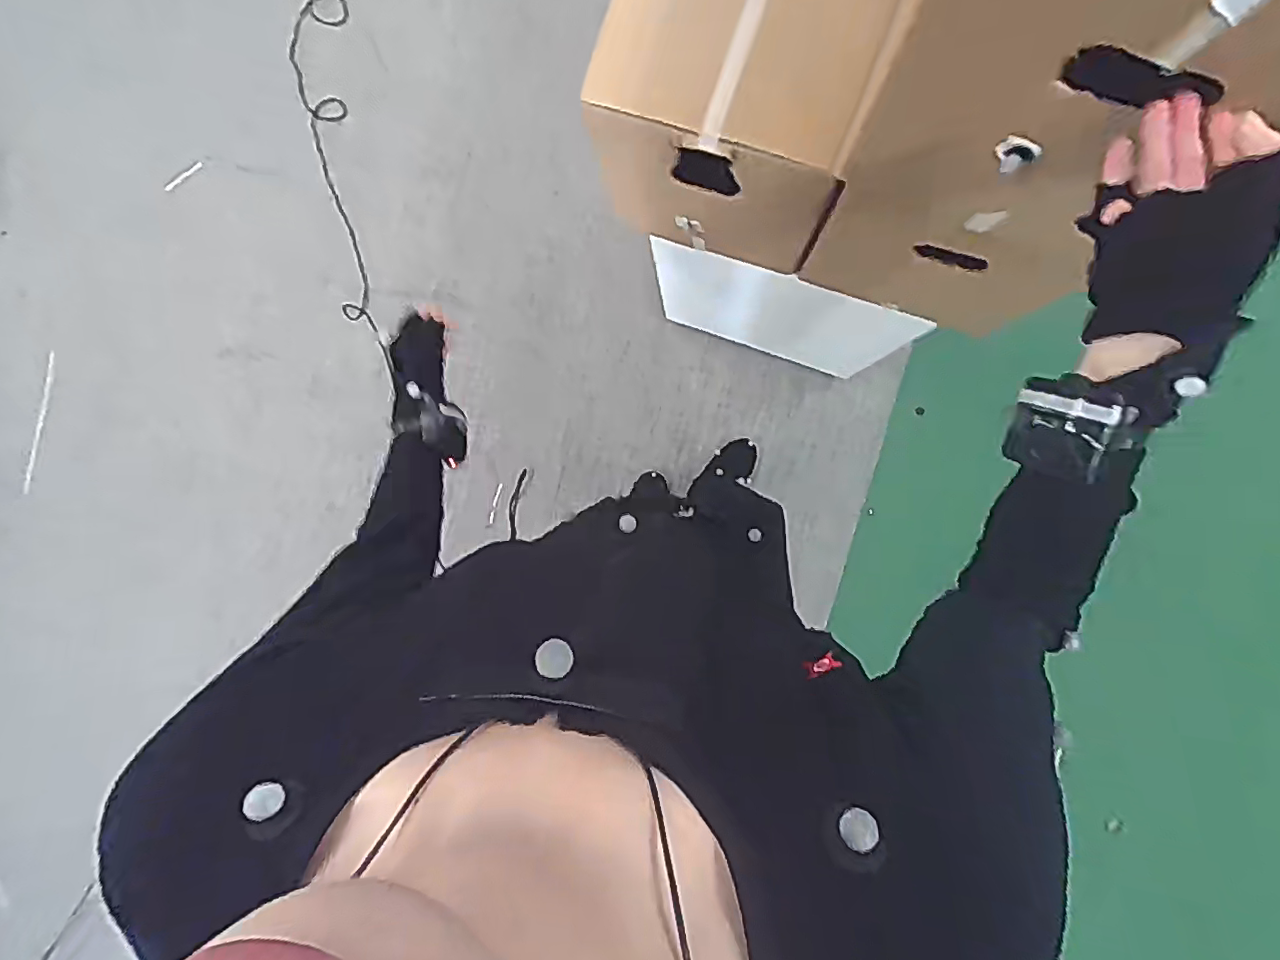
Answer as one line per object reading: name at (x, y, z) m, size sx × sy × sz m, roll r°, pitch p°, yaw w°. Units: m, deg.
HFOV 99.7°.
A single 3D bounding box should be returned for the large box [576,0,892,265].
large box at (0.145, -0.576, 0.739) m, size 0.320 × 0.320 × 0.408 m, roll 19°, pitch 92°, yaw 5°
